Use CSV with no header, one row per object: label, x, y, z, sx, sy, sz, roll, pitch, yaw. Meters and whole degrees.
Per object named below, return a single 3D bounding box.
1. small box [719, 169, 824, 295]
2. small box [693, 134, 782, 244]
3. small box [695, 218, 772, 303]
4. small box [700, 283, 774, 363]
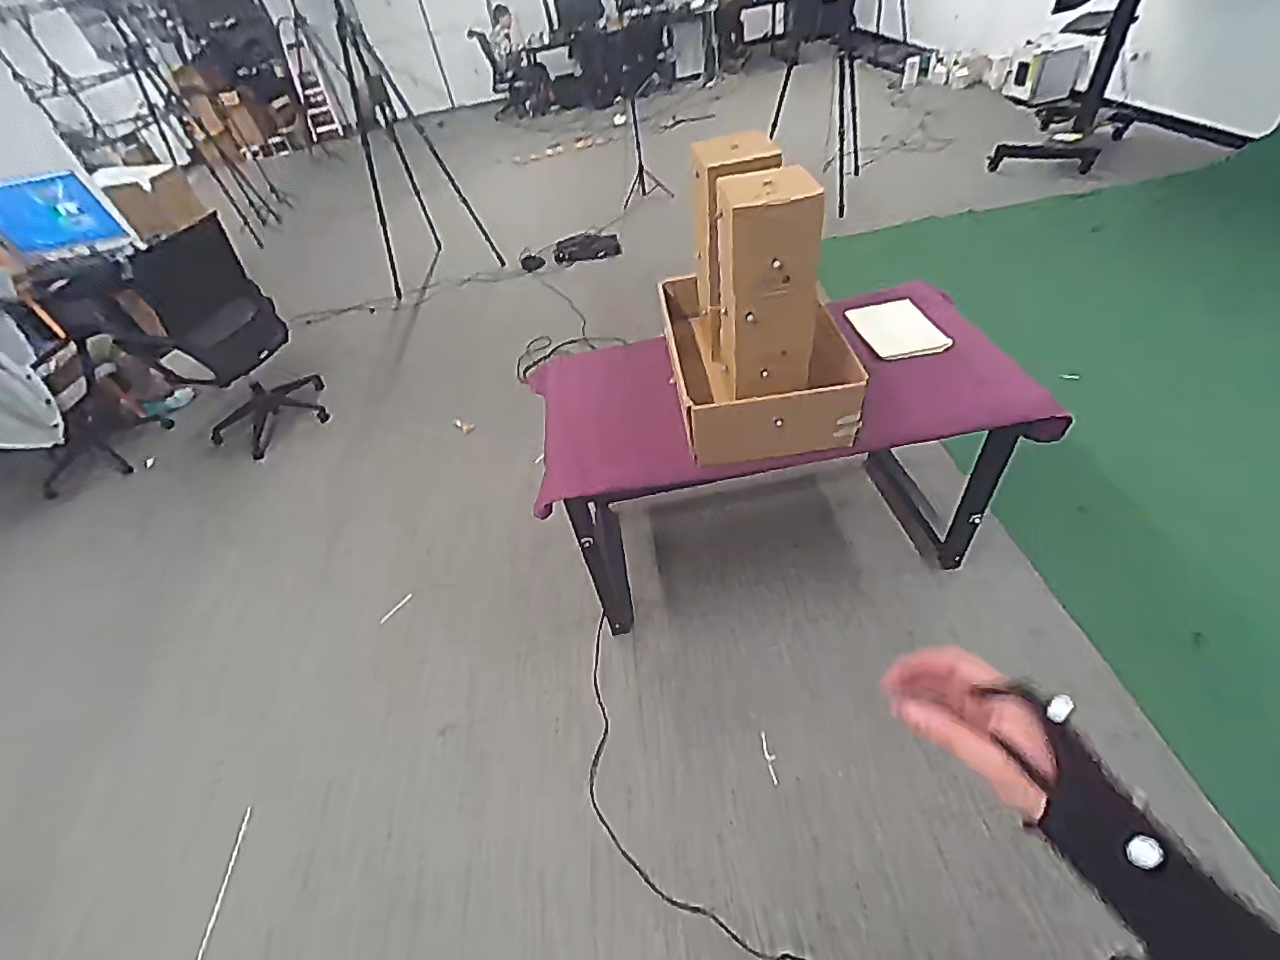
small box,0.248,-0.487,1.065,0.168,0.176,0.179,-8,45,3
small box,0.220,-0.676,1.260,0.168,0.176,0.179,-11,48,1
small box,0.240,-0.566,1.378,0.168,0.176,0.179,-11,46,0
small box,0.263,-0.450,1.492,0.168,0.176,0.179,-10,47,1
